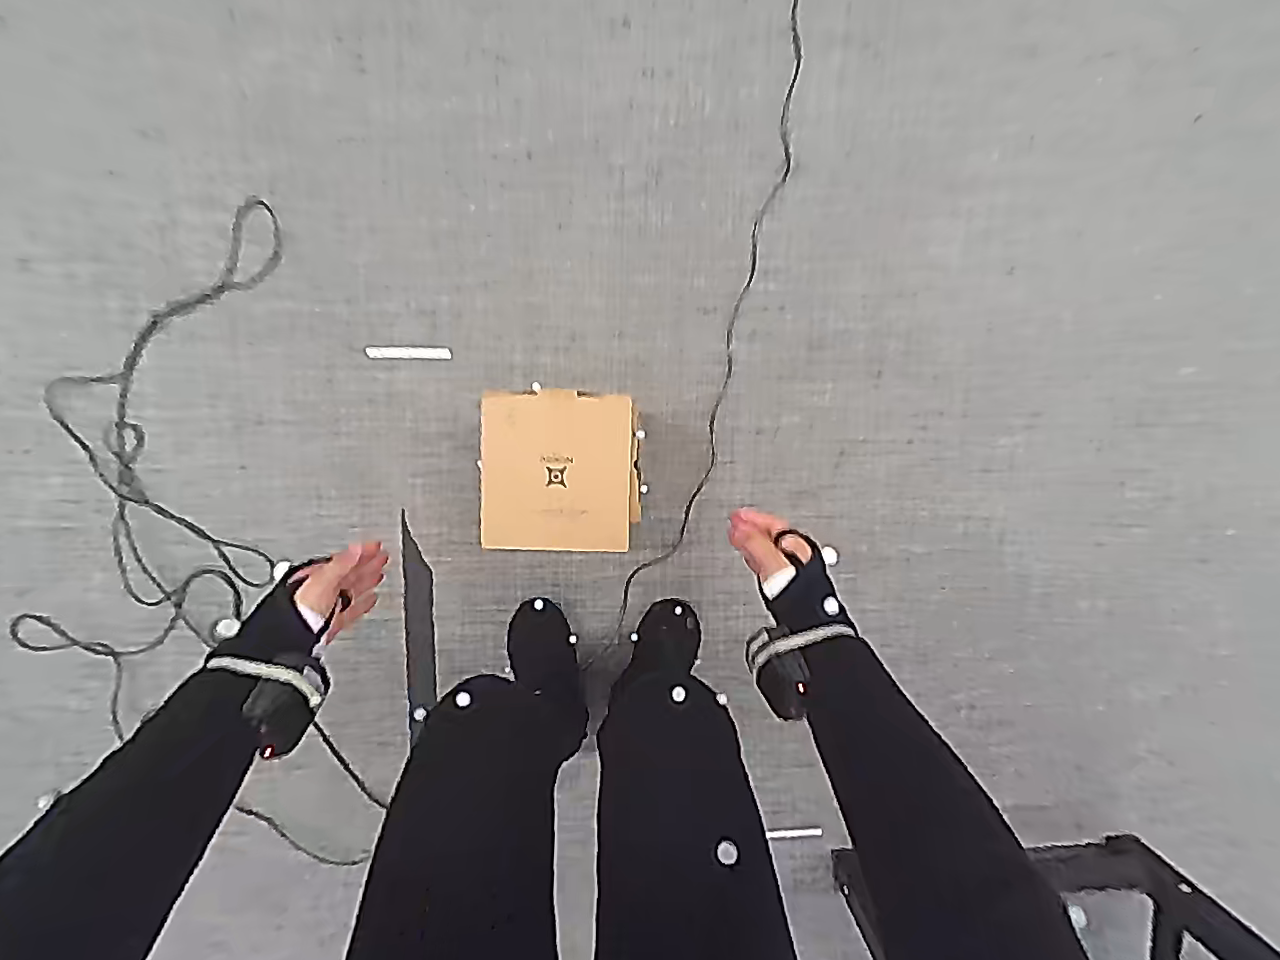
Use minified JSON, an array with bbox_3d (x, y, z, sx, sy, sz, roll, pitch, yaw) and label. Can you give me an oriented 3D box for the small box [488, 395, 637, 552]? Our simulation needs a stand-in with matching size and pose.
[{"bbox_3d":[-0.089,-0.013,0.683,0.168,0.176,0.179,1,96,0],"label":"small box"}]
